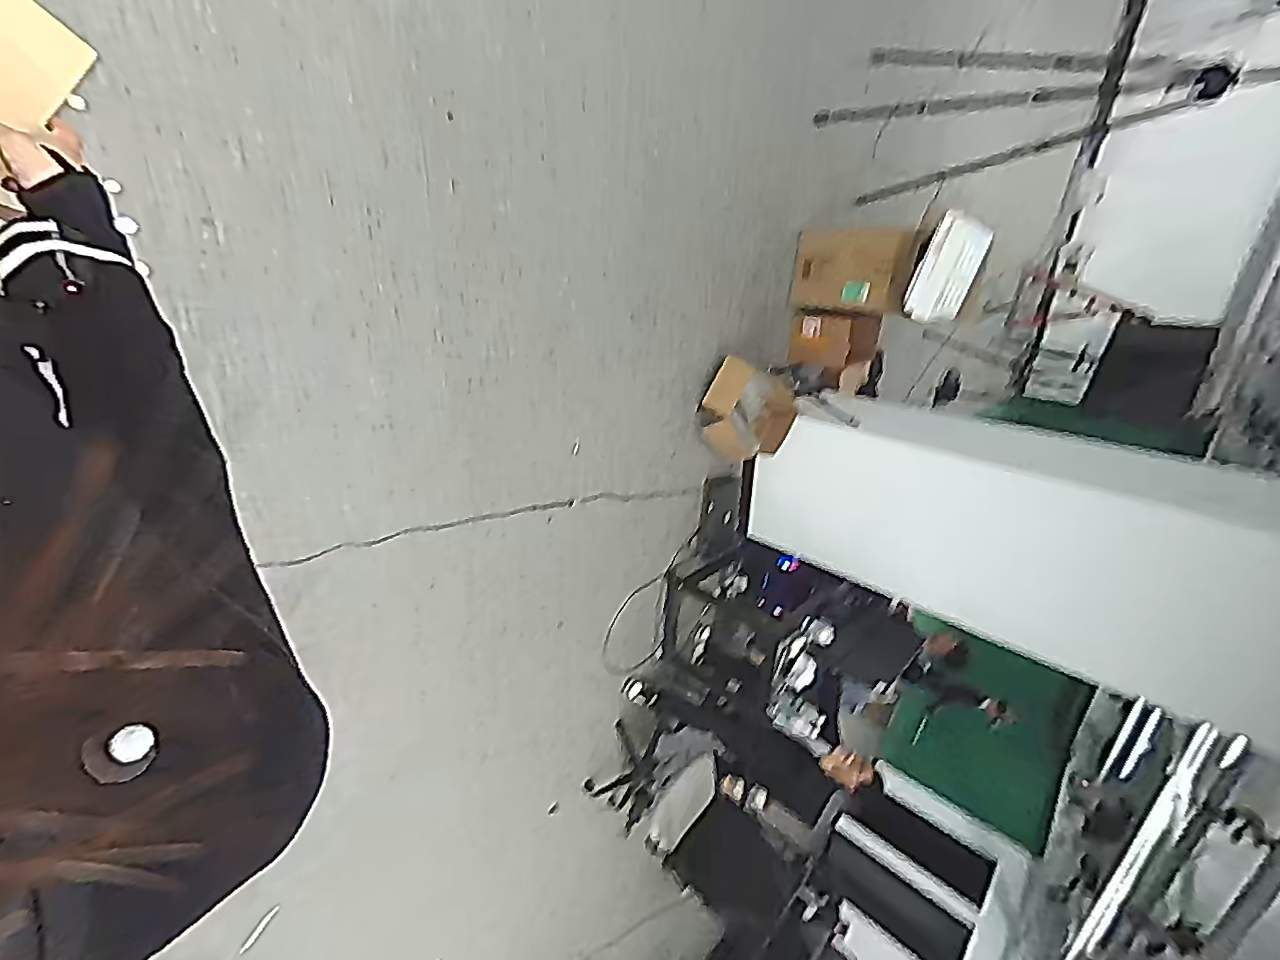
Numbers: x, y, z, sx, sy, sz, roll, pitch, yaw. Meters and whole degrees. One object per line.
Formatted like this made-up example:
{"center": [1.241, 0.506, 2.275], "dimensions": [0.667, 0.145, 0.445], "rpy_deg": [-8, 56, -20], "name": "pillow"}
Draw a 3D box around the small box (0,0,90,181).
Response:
{"center": [-0.655, -0.380, 0.474], "dimensions": [0.179, 0.176, 0.168], "rpy_deg": [-61, 148, -6], "name": "small box"}
